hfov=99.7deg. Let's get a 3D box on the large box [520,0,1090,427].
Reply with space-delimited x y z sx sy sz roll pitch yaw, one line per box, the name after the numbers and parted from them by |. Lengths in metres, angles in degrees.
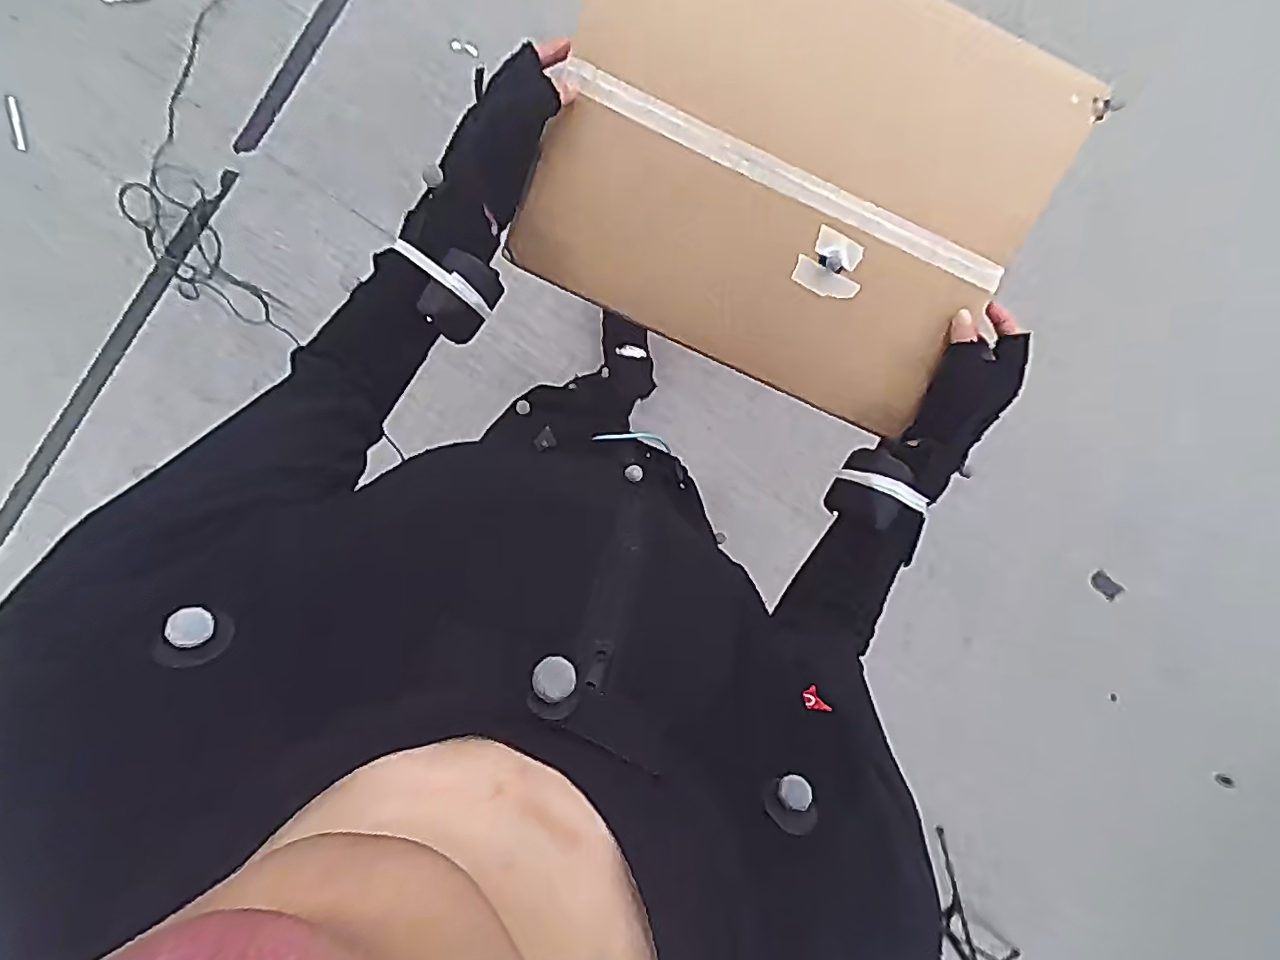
0.133 -0.301 0.610 0.408 0.320 0.320 24 107 -4 | large box
